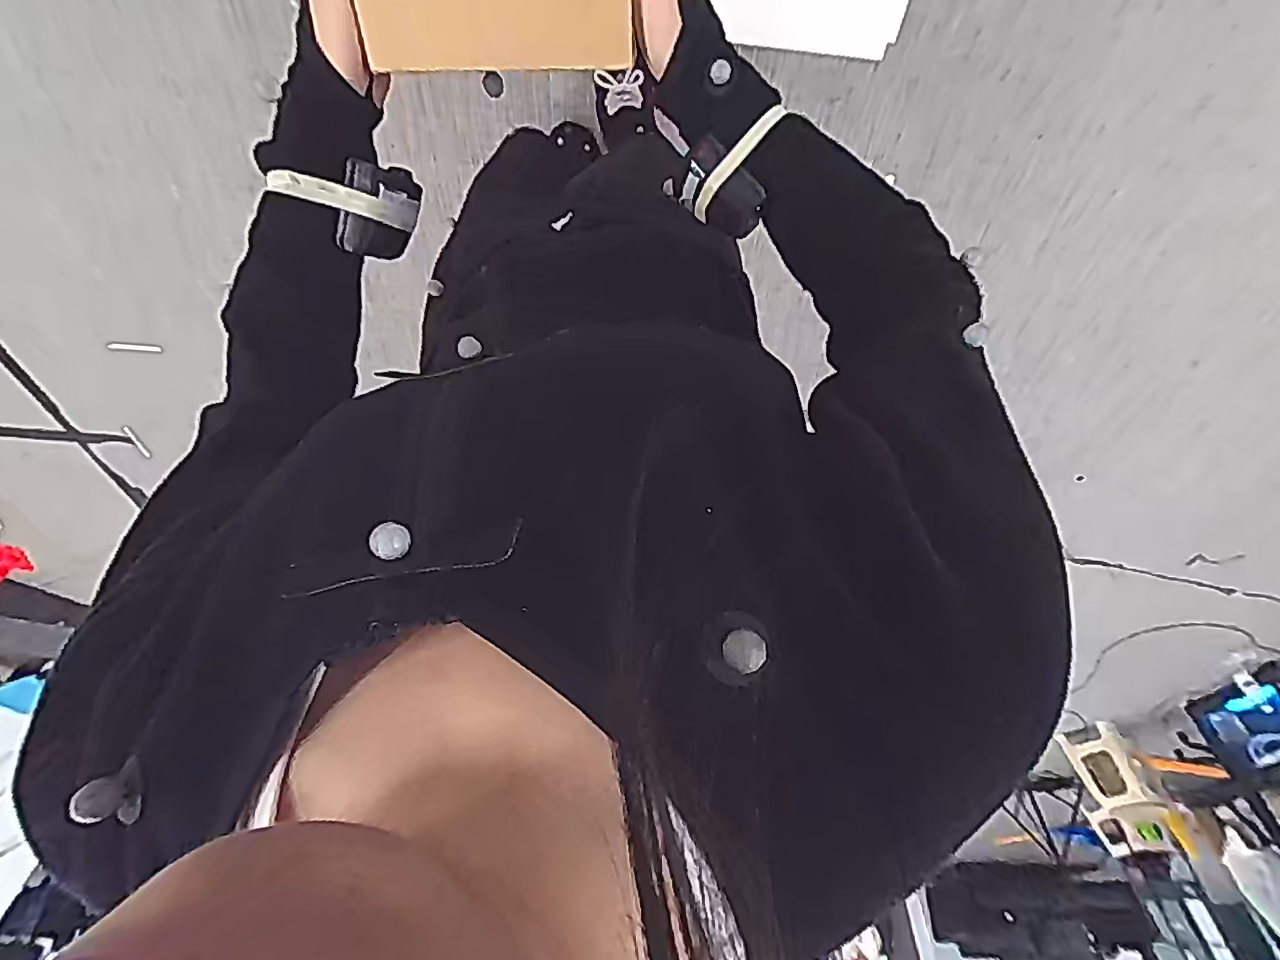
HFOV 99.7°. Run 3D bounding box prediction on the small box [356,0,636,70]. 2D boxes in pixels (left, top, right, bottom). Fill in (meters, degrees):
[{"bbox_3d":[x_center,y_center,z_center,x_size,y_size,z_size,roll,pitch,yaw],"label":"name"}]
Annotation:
[{"bbox_3d":[-0.085,-0.374,0.346,0.168,0.176,0.179,-1,126,0],"label":"small box"}]
